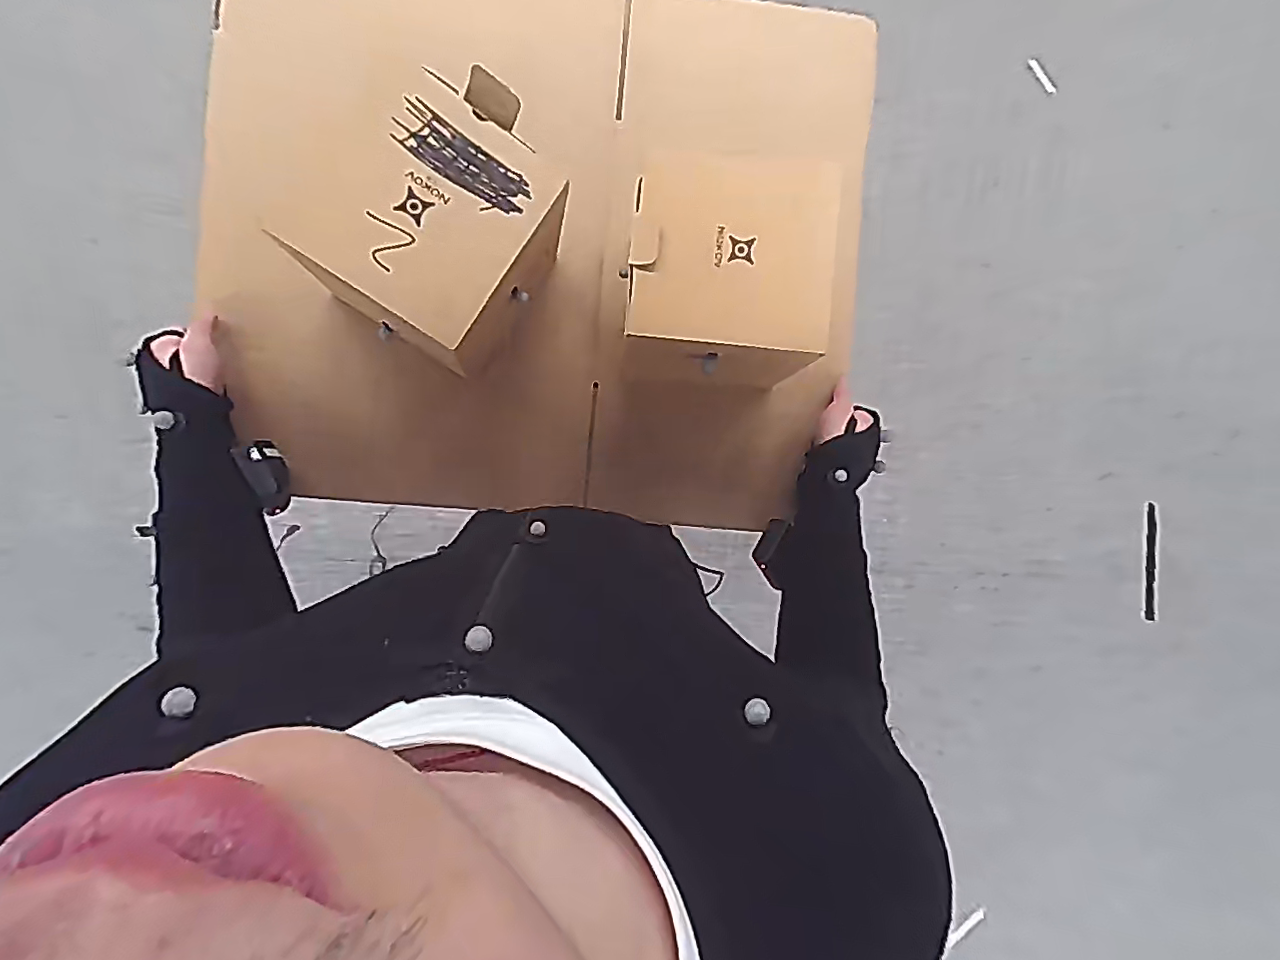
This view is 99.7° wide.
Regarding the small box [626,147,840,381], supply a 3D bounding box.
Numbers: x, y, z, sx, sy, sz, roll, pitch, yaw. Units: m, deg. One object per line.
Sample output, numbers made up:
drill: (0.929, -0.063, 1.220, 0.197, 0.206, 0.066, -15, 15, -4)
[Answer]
small box: (0.080, -0.200, 0.552, 0.179, 0.176, 0.168, 5, 90, -2)
